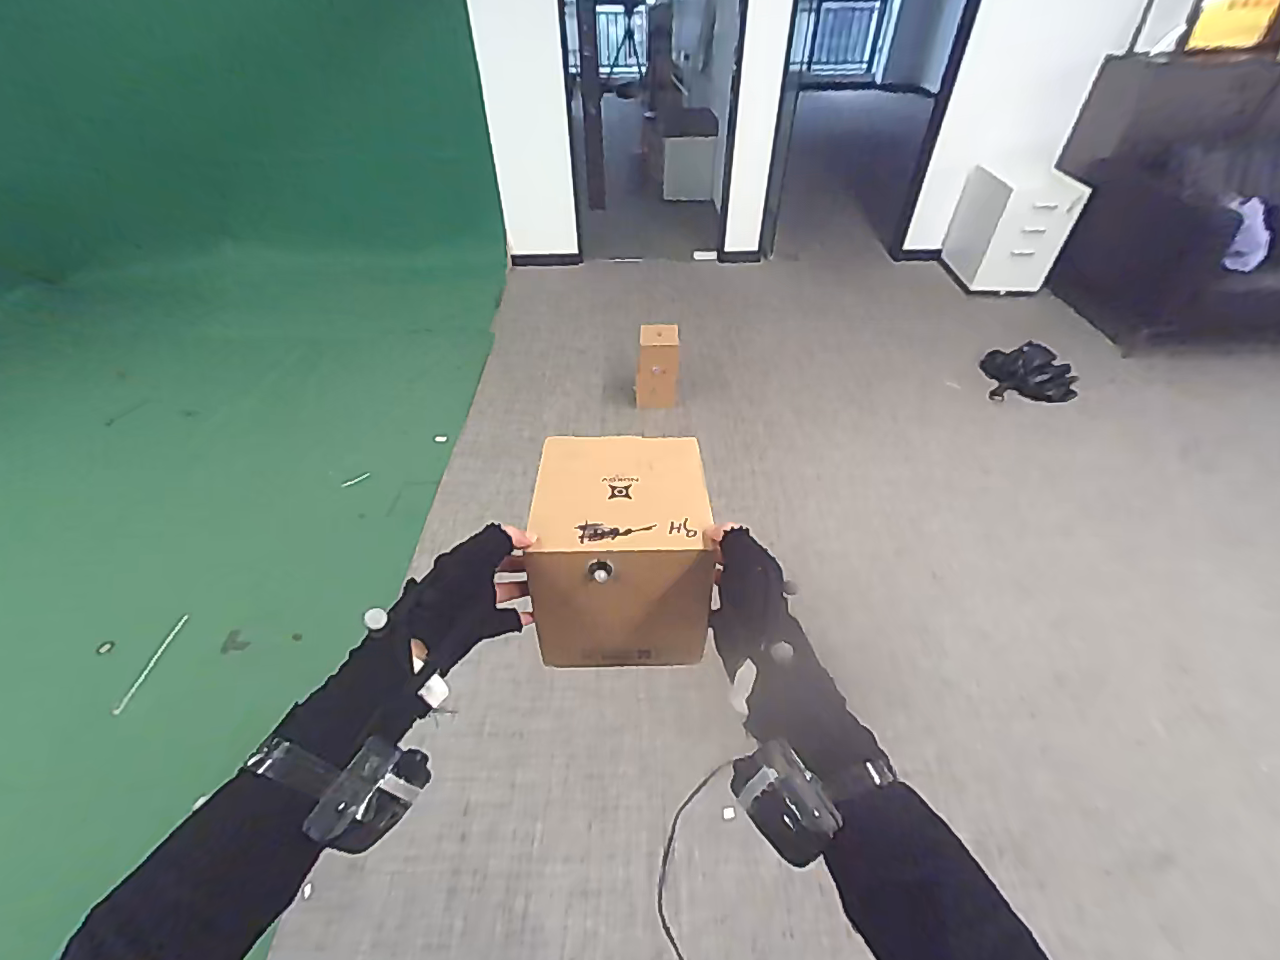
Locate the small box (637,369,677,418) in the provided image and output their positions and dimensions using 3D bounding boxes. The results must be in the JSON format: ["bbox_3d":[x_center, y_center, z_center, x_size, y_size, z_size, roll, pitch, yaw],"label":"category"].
[{"bbox_3d":[0.079,-0.399,2.498,0.179,0.176,0.168,0,42,2],"label":"small box"}]

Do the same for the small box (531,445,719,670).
[{"bbox_3d":[-0.014,0.078,0.576,0.168,0.176,0.179,-1,36,-1],"label":"small box"}]

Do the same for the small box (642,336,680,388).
[{"bbox_3d":[0.092,-0.523,2.396,0.168,0.176,0.179,-1,43,2],"label":"small box"}]
